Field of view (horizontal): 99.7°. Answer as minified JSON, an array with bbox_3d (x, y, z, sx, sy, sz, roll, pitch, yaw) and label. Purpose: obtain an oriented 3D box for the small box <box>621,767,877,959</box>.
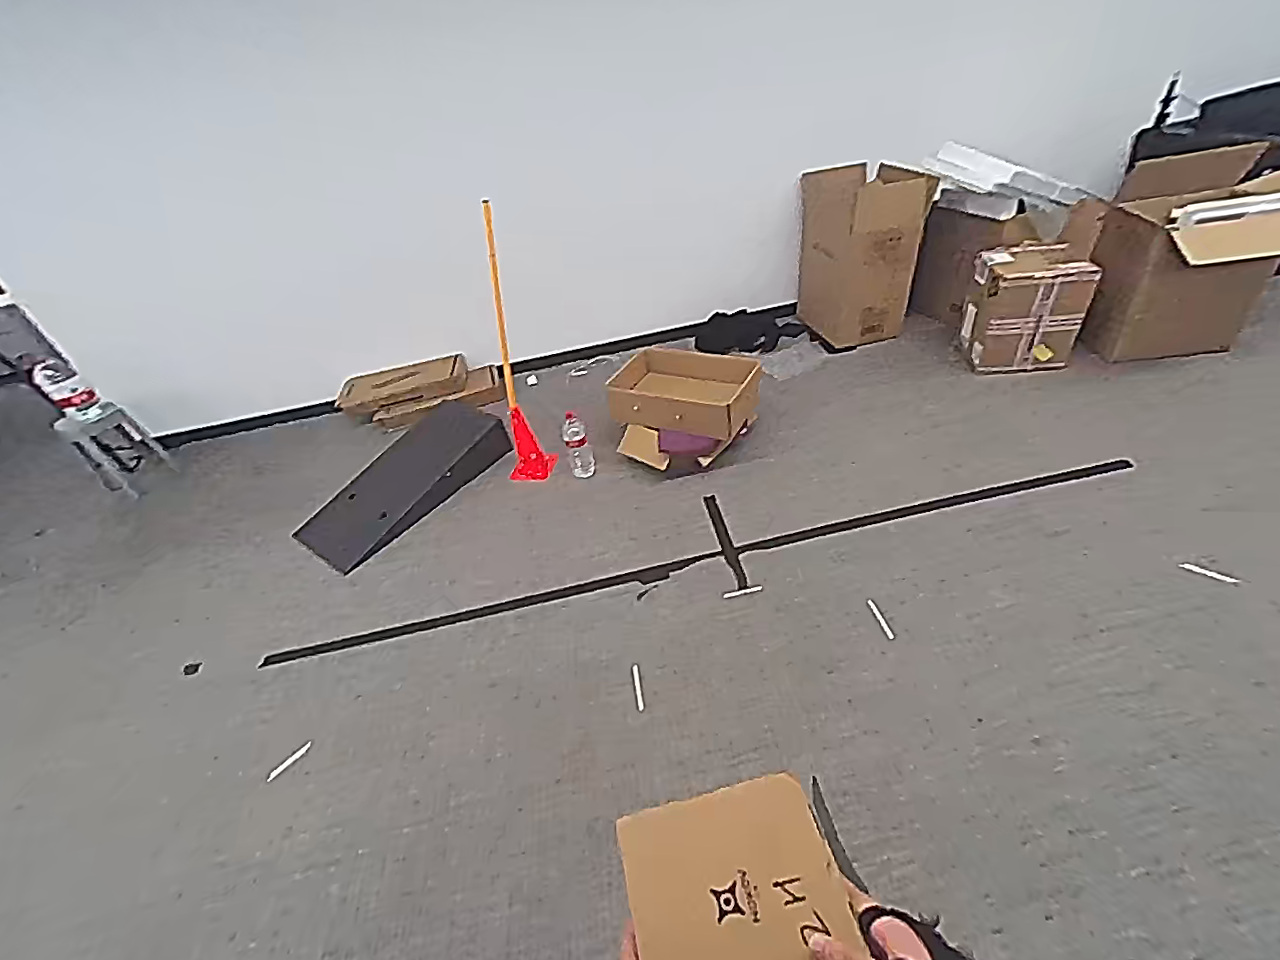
[{"bbox_3d":[0.091,0.398,0.498,0.179,0.176,0.168,-12,44,-5],"label":"small box"}]
